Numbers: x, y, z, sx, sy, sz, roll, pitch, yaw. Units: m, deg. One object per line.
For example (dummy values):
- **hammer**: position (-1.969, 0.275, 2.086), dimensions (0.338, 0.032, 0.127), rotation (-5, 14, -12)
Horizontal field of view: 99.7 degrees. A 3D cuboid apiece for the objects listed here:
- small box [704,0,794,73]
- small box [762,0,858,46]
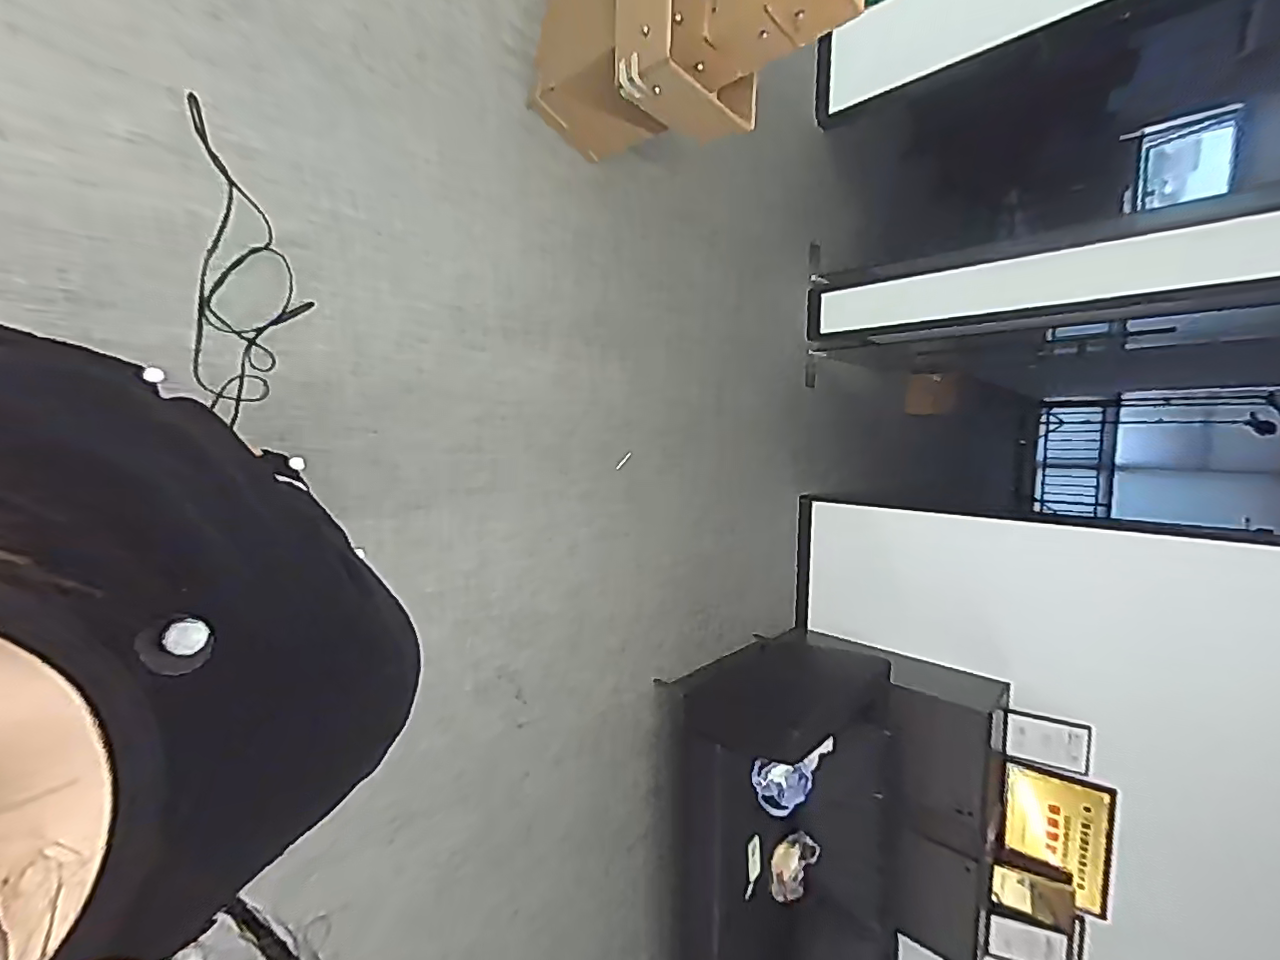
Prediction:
- **small box**: position (0.279, -1.187, 1.371), dimensions (0.179, 0.176, 0.168), rotation (2, 92, -47)
- **small box**: position (0.398, -1.181, 1.261), dimensions (0.168, 0.176, 0.179), rotation (1, 94, -47)
